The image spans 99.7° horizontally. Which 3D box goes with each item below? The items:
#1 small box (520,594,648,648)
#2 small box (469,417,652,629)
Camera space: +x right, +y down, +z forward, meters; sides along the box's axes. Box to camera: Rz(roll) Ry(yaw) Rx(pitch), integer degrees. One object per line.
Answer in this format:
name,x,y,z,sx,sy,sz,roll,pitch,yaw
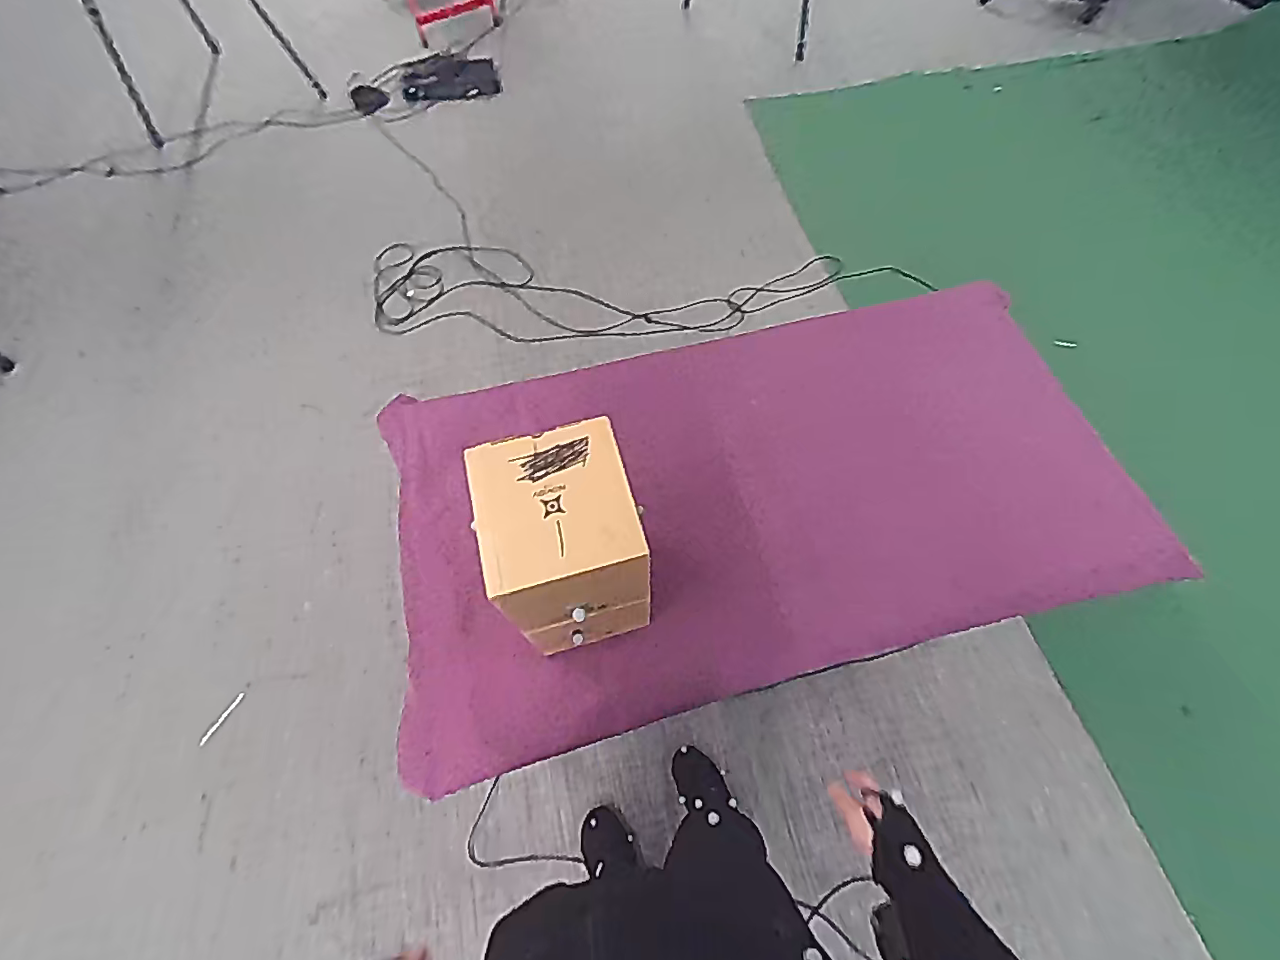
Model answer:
small box,-0.087,0.133,0.783,0.168,0.176,0.179,-15,63,-6
small box,-0.088,0.056,0.638,0.168,0.176,0.179,-15,64,-6
